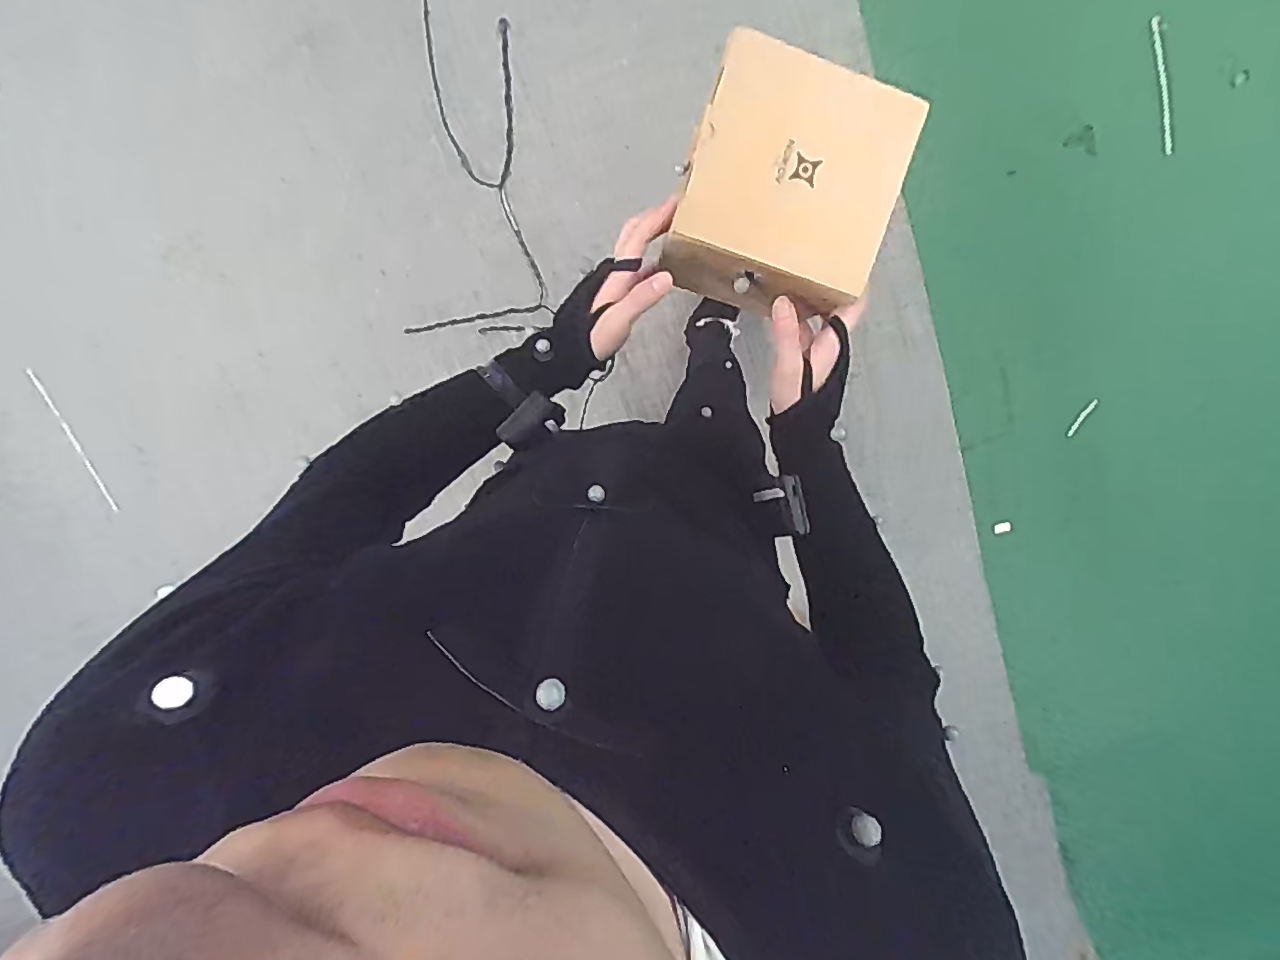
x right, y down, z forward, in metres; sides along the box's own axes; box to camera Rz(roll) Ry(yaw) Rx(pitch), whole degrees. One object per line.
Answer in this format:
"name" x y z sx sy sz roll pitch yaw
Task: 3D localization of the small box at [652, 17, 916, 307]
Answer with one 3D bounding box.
"small box" 0.120 -0.281 0.528 0.179 0.176 0.168 16 96 -5
